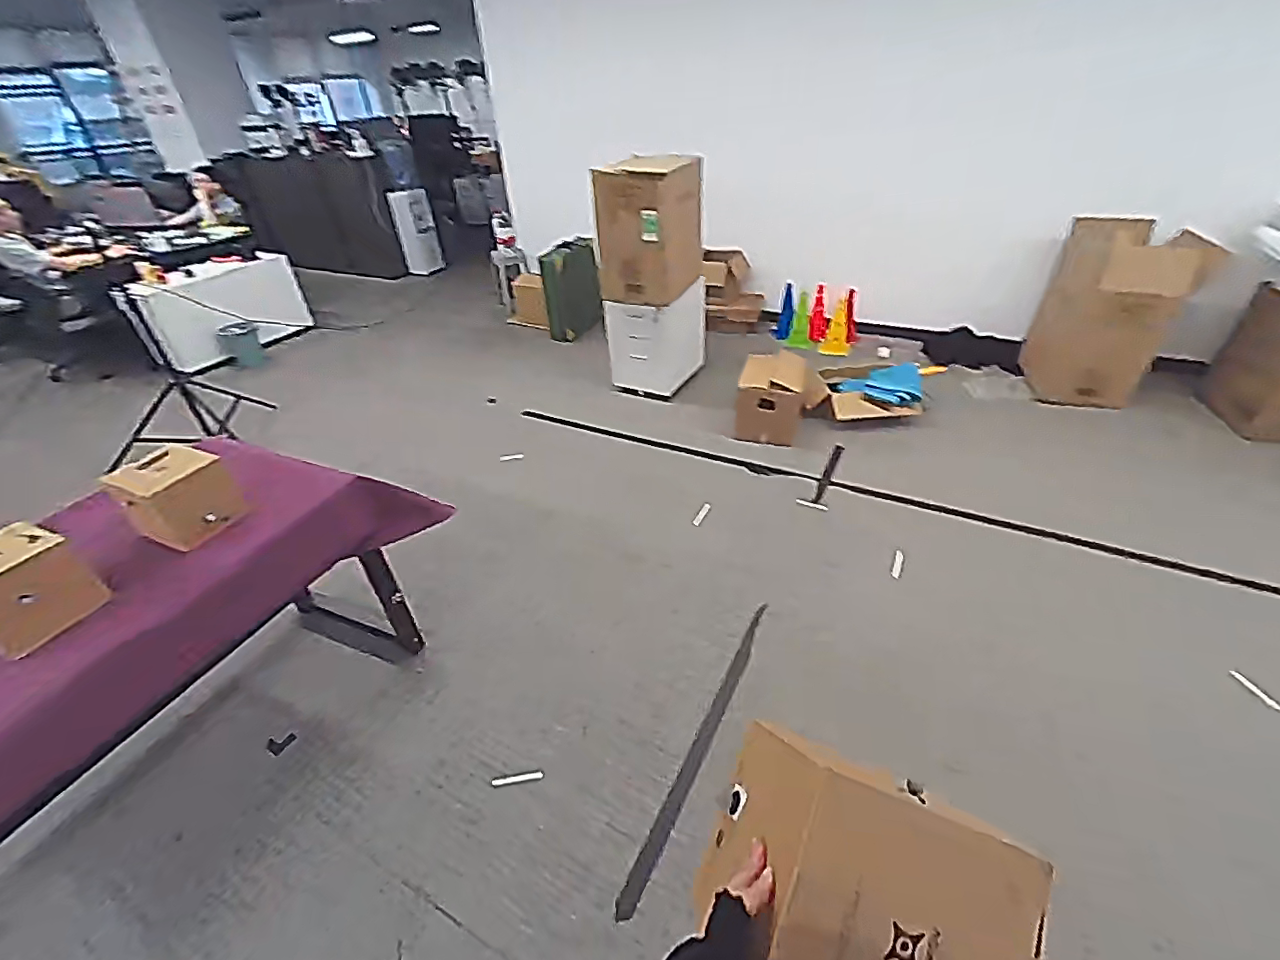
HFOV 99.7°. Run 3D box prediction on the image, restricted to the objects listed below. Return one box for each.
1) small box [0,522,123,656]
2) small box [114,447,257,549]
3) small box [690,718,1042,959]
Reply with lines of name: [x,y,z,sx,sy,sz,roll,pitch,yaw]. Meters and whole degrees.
small box: [-1.208,0.215,1.072,0.168,0.176,0.179,12,39,21]
small box: [-1.080,0.043,1.297,0.179,0.176,0.168,12,39,20]
small box: [0.157,0.308,0.426,0.179,0.176,0.168,22,75,0]
